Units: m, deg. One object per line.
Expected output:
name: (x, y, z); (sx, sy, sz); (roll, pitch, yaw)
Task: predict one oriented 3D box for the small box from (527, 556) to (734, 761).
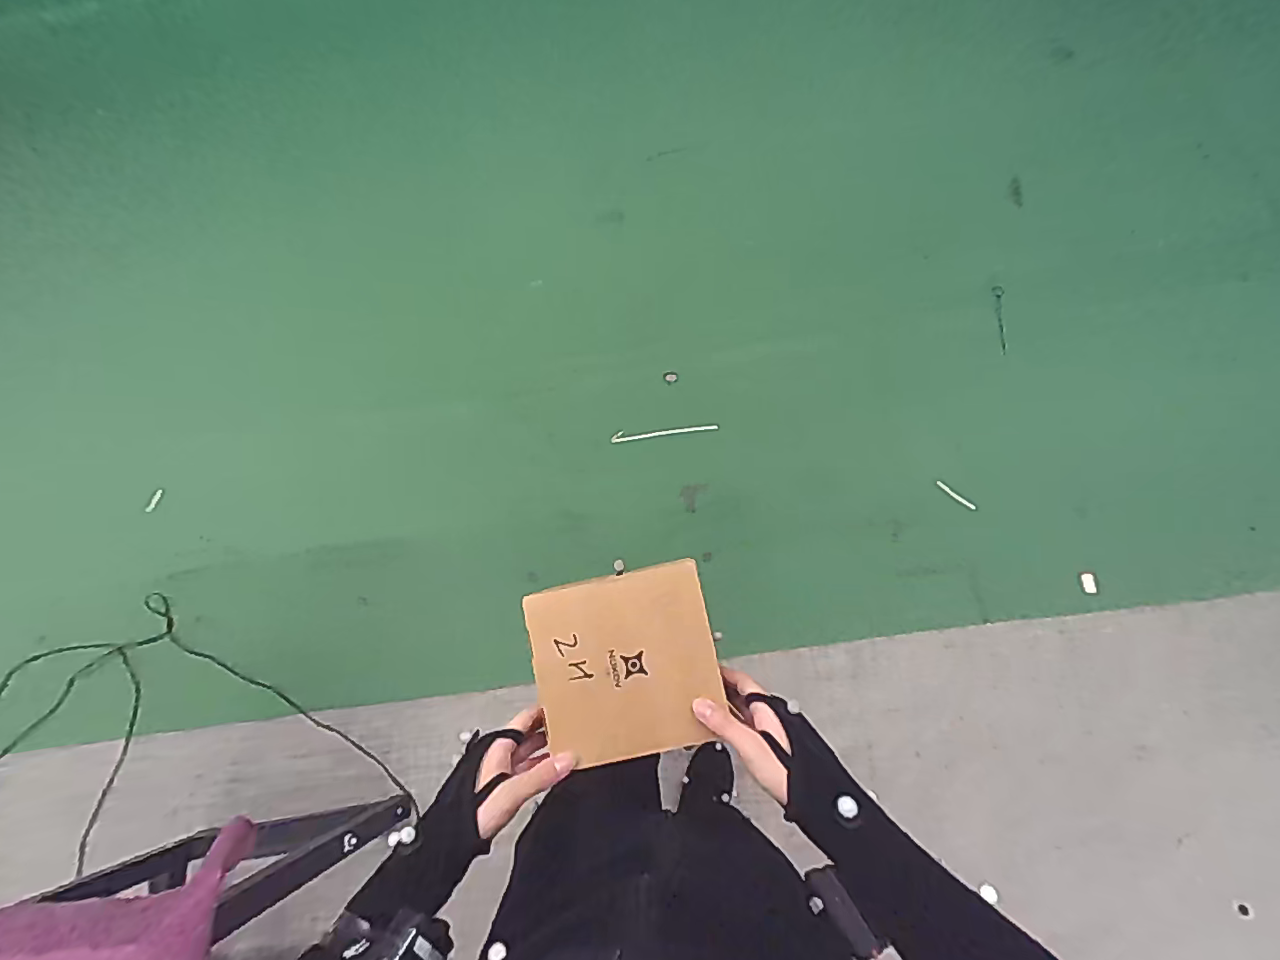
small box: (-0.008, 0.179, 0.595); (0.179, 0.176, 0.168); (-12, 82, 2)
